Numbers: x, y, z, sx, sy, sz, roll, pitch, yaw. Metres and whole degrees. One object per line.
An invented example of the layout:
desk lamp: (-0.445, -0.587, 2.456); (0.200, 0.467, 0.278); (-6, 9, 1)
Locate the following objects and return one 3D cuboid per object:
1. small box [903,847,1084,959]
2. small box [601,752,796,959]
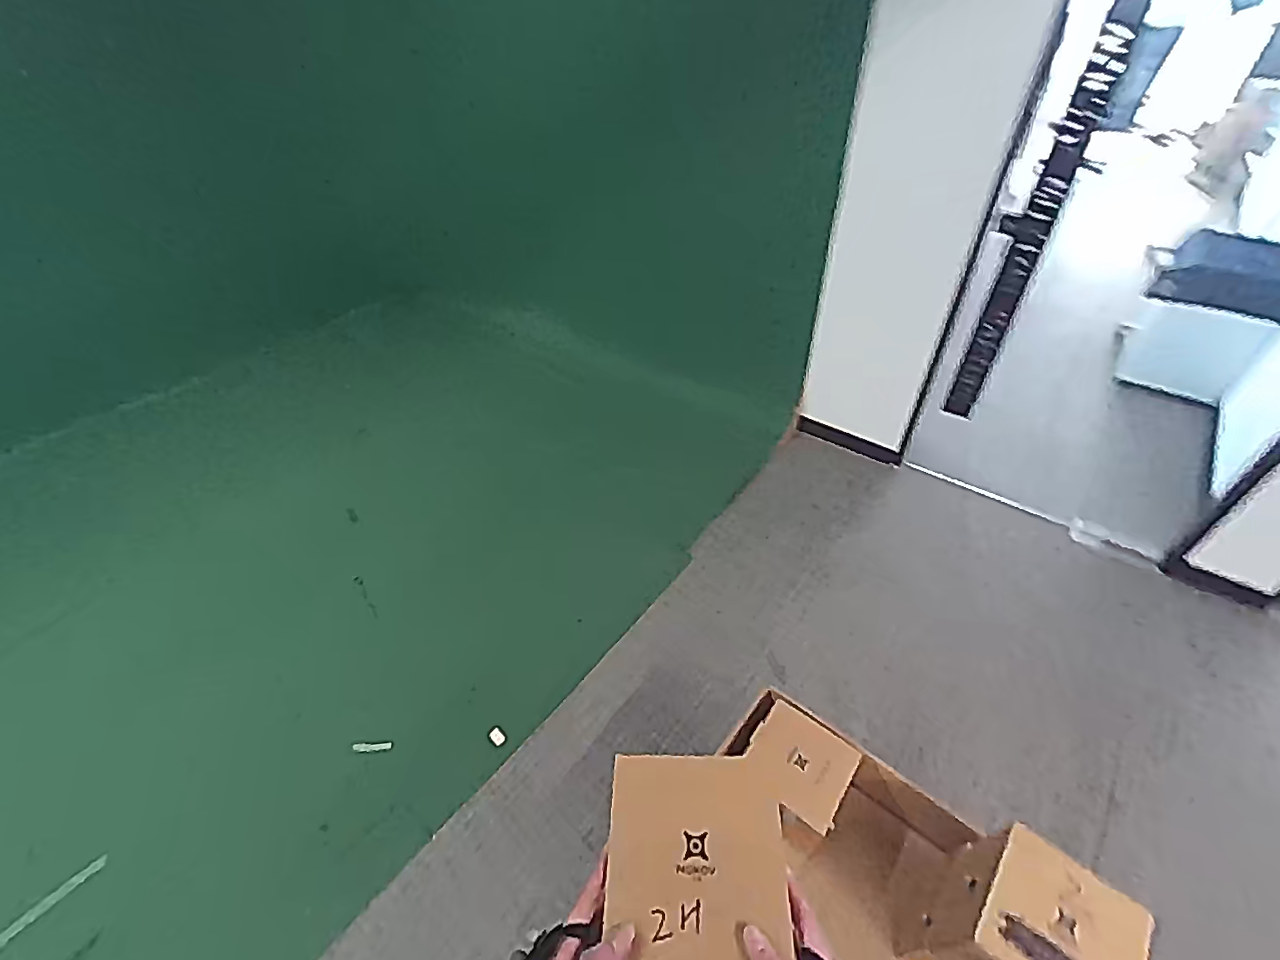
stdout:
small box: (0.544, 0.734, 0.852); (0.168, 0.176, 0.179); (31, 55, 30)
small box: (0.062, 0.401, 0.559); (0.168, 0.176, 0.179); (-3, 49, 8)
